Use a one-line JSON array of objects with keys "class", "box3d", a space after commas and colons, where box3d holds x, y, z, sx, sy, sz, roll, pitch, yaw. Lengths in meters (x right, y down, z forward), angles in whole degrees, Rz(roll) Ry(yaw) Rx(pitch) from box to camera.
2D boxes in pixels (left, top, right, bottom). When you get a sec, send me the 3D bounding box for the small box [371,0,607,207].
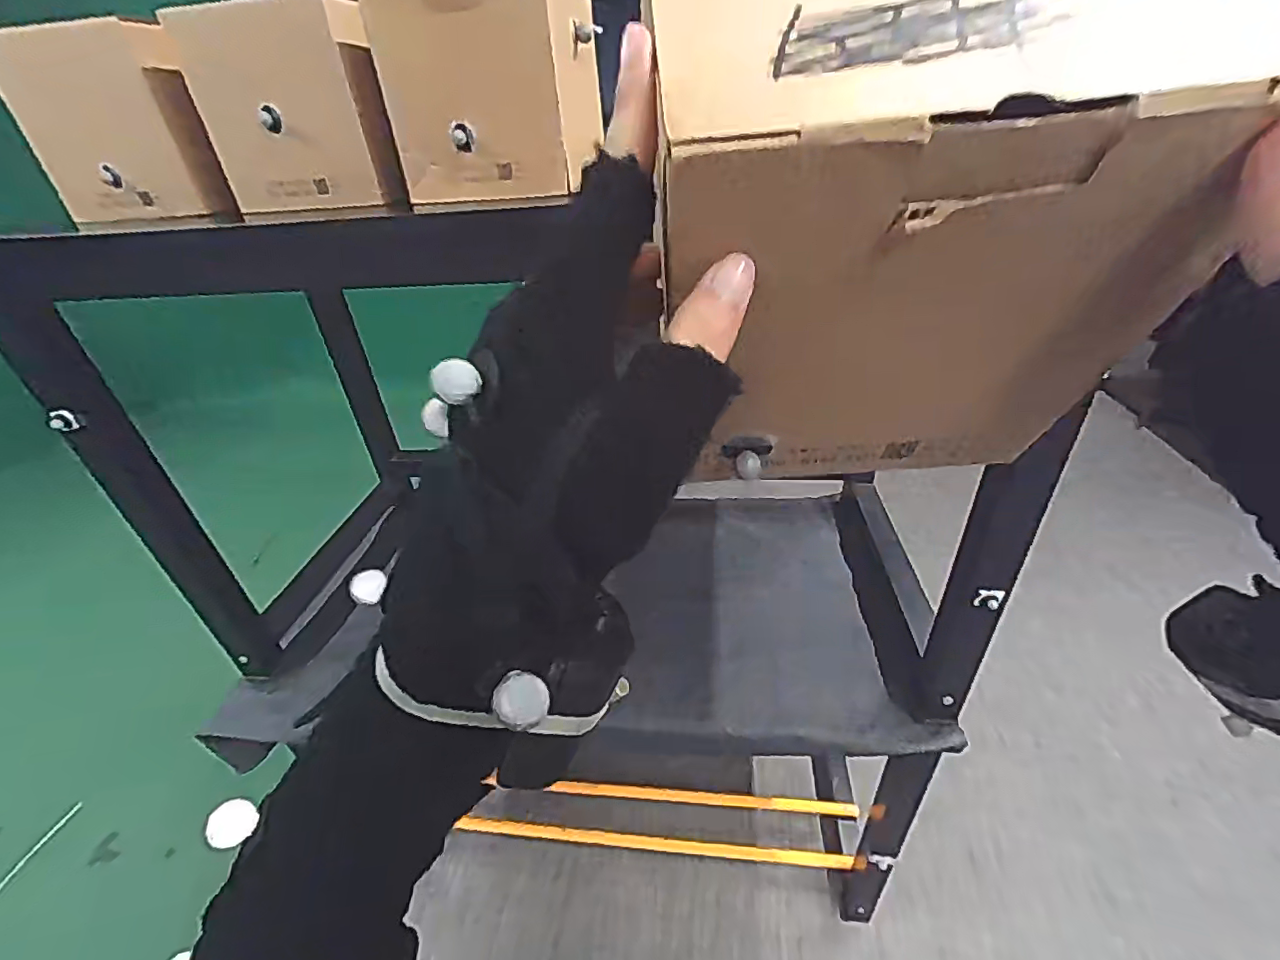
[{"class": "small box", "box3d": [-0.131, -0.378, 0.543, 0.168, 0.176, 0.179, 1, 34, 9]}]
